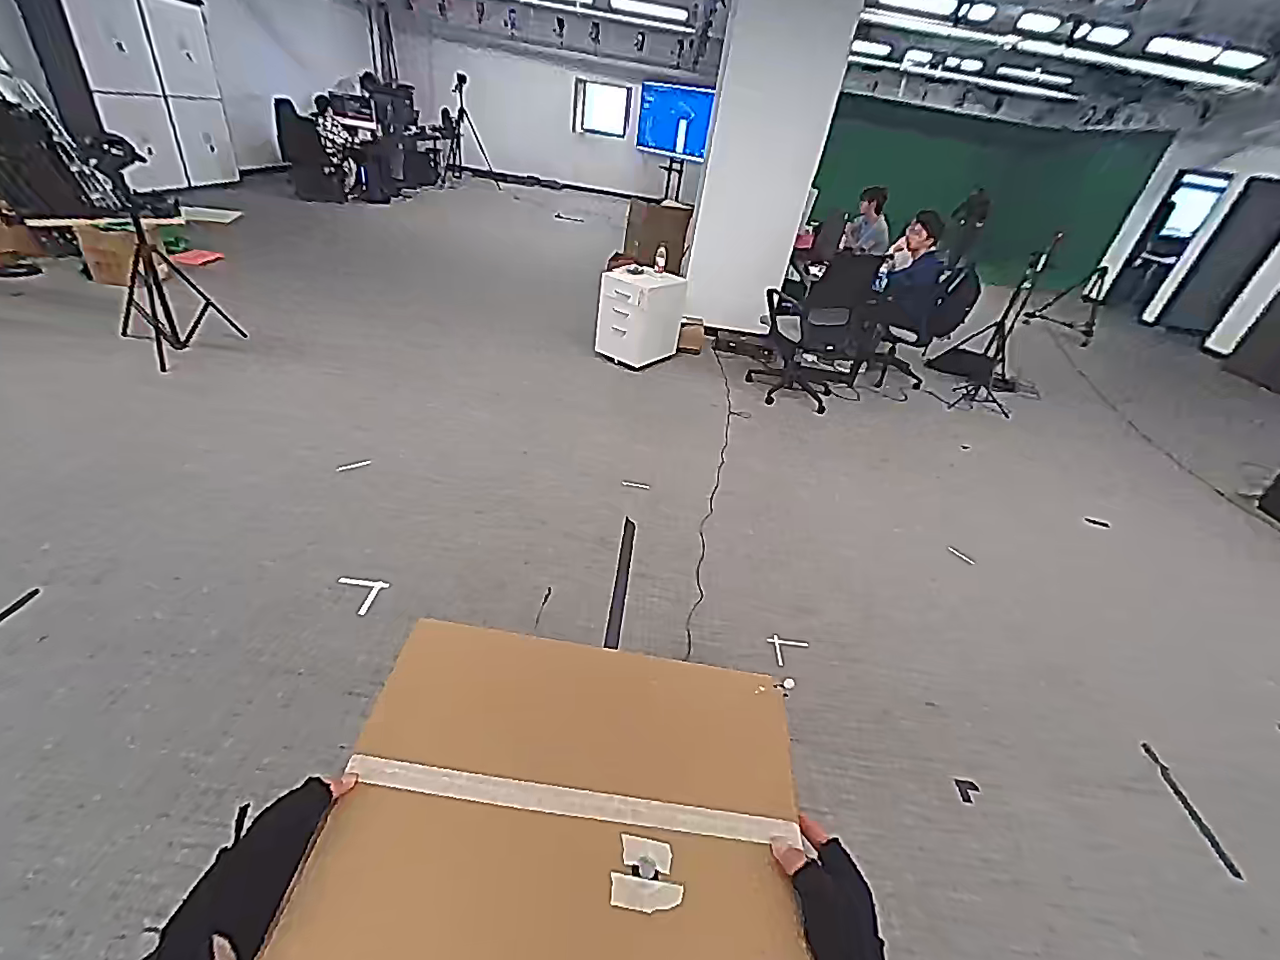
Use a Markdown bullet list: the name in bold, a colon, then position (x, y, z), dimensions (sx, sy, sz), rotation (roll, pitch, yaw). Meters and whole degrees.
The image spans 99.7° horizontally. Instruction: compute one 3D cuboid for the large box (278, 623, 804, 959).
- **large box**: position (-0.078, 0.401, 0.593), dimensions (0.408, 0.320, 0.320), rotation (10, 42, -1)
